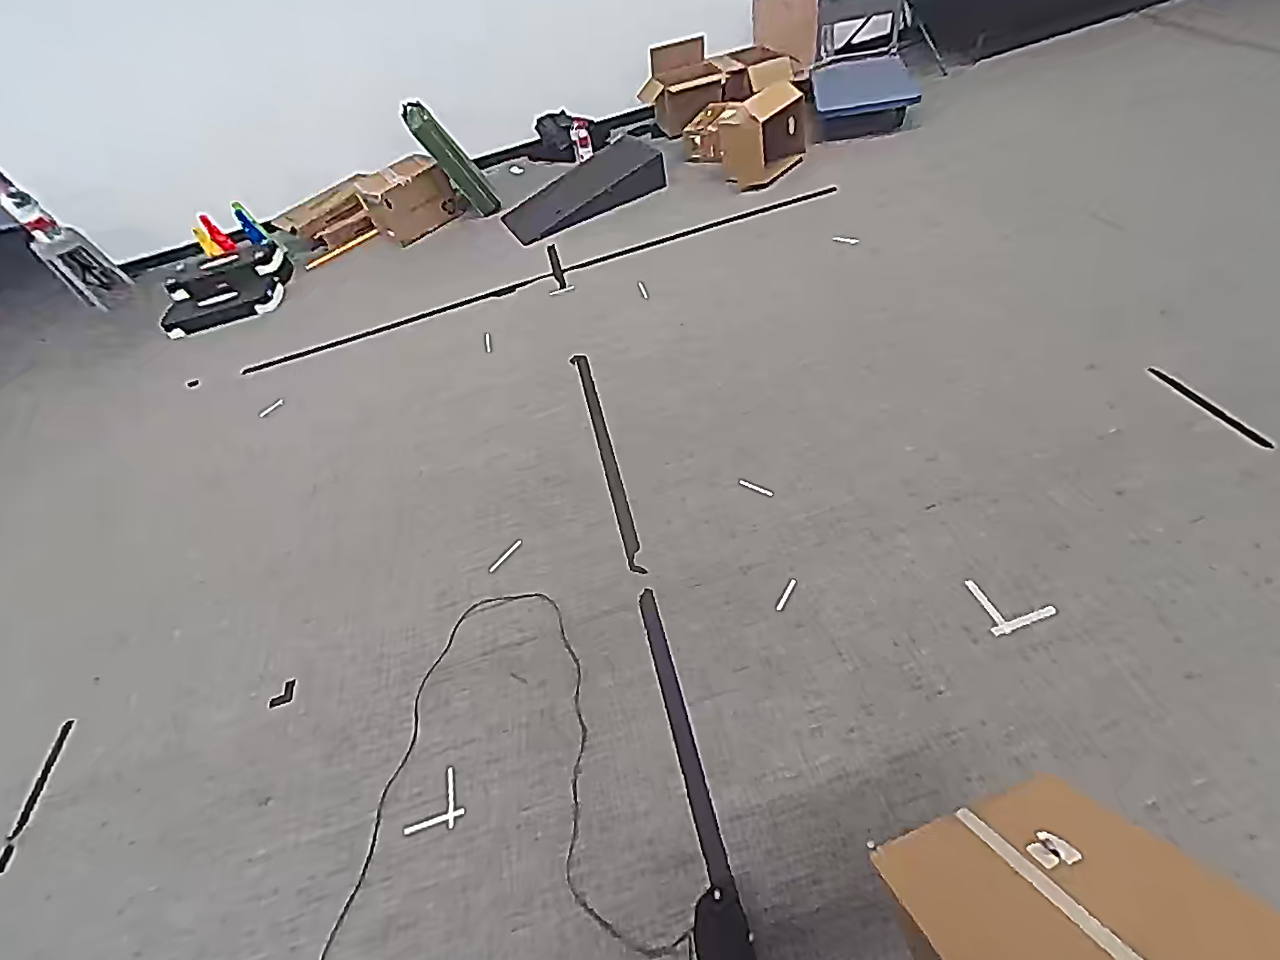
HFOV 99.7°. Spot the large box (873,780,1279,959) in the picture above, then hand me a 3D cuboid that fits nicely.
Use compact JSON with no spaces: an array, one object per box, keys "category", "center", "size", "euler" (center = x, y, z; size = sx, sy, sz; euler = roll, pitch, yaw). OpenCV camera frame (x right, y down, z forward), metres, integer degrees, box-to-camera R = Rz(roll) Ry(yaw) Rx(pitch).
[{"category":"large box","center":[0.560,0.648,0.632],"size":[0.320,0.408,0.320],"euler":[-21,86,-3]}]
